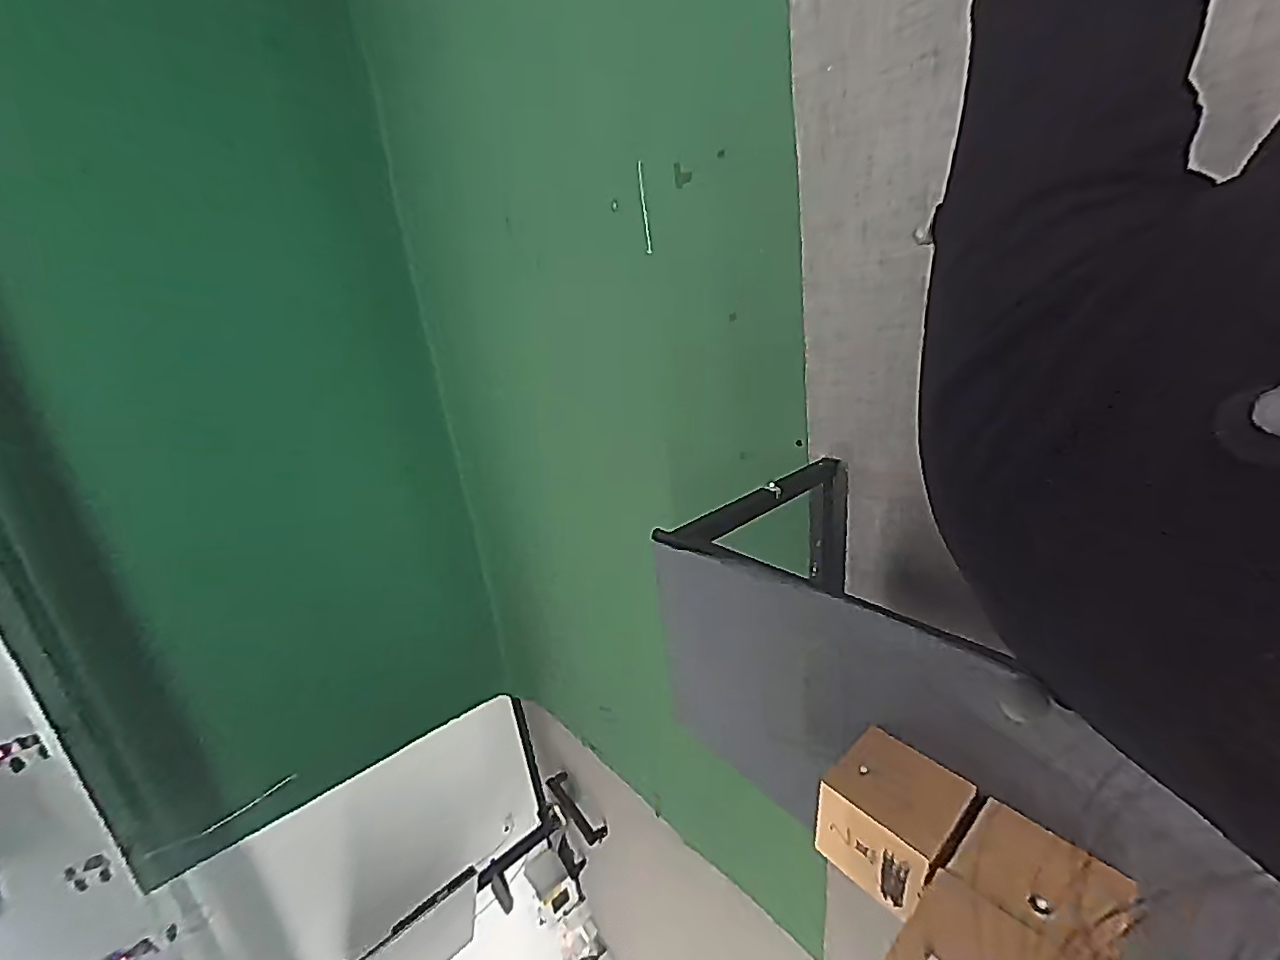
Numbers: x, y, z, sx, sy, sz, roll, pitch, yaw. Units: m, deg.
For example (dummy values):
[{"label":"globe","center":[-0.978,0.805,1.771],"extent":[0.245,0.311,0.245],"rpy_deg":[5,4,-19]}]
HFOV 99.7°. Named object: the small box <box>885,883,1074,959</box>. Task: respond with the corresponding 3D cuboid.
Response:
[{"label":"small box","center":[0.411,0.639,0.649],"extent":[0.179,0.176,0.168],"rpy_deg":[17,119,47]}]
